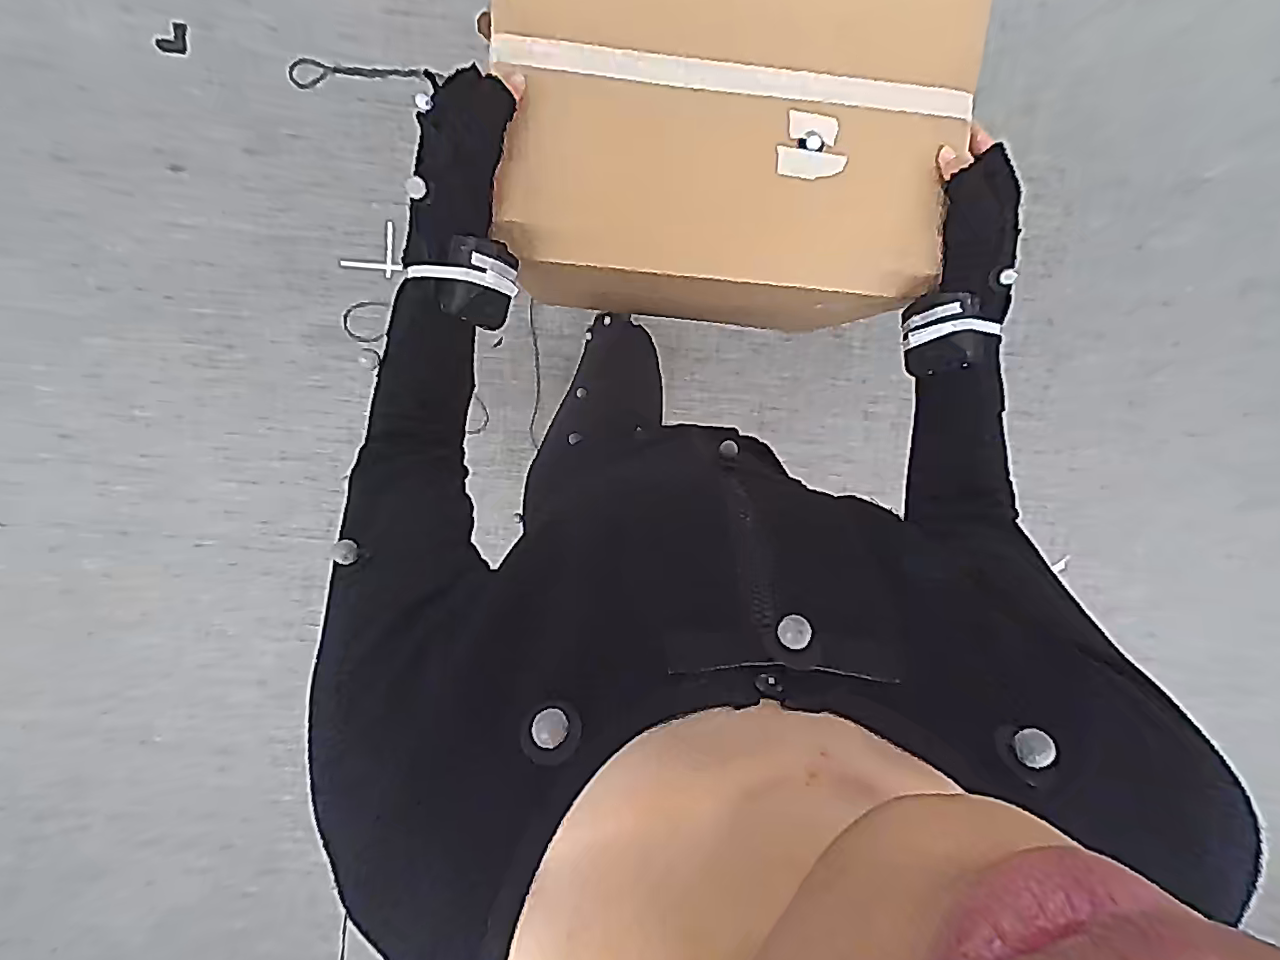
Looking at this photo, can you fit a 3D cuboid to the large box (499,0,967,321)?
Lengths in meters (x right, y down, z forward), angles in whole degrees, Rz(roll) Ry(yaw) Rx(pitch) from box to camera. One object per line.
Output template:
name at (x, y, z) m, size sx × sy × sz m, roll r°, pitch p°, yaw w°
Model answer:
large box at (0.069, -0.368, 0.616) m, size 0.408 × 0.320 × 0.320 m, roll 4°, pitch 101°, yaw -5°
